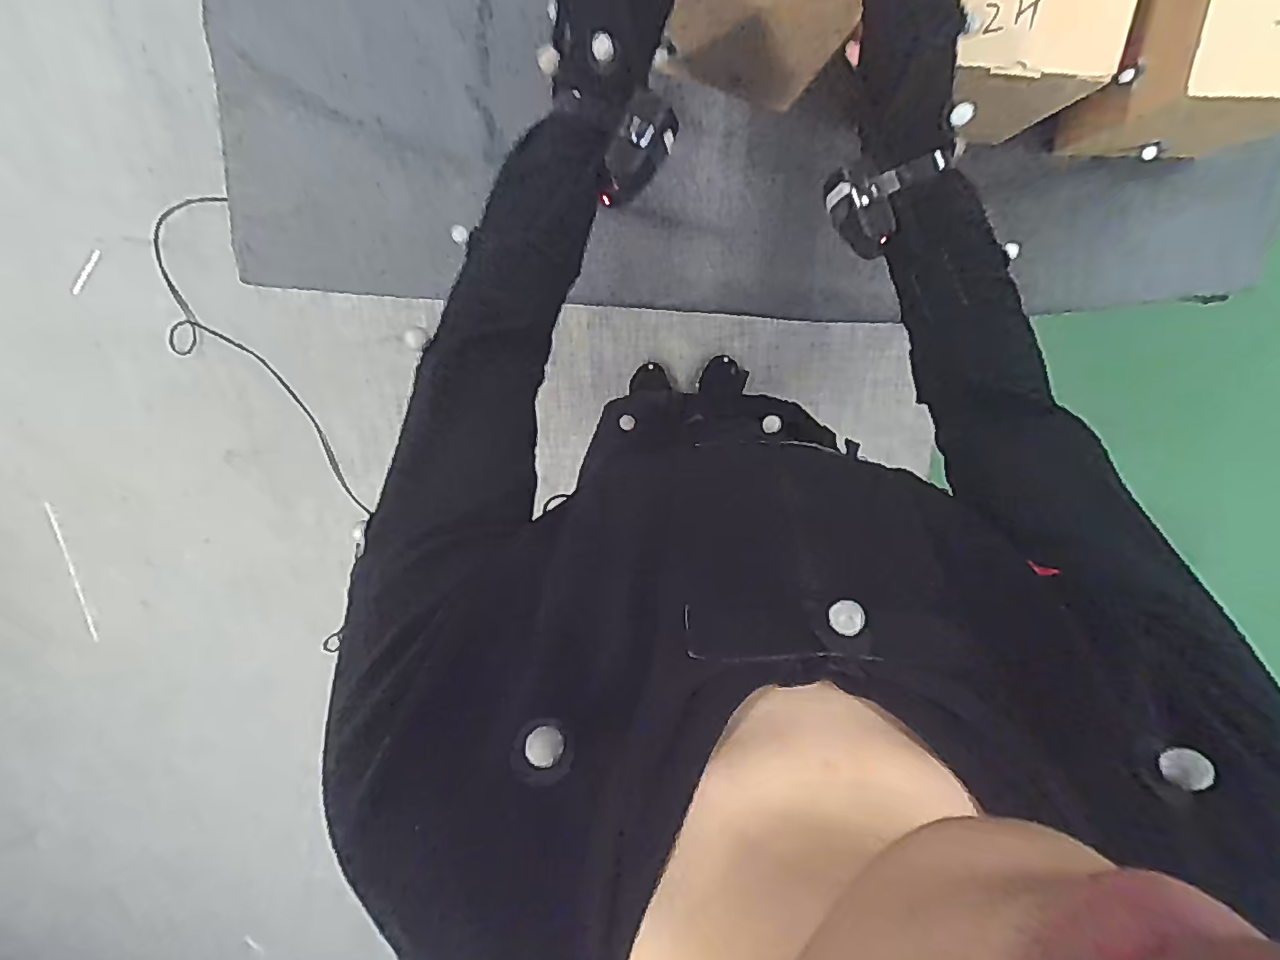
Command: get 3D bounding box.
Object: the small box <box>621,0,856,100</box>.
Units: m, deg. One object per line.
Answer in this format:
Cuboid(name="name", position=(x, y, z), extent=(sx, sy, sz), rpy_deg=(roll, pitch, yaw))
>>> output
Cuboid(name="small box", position=(0.089, -0.440, 0.410), extent=(0.168, 0.176, 0.179), rpy_deg=(9, 91, -15))
